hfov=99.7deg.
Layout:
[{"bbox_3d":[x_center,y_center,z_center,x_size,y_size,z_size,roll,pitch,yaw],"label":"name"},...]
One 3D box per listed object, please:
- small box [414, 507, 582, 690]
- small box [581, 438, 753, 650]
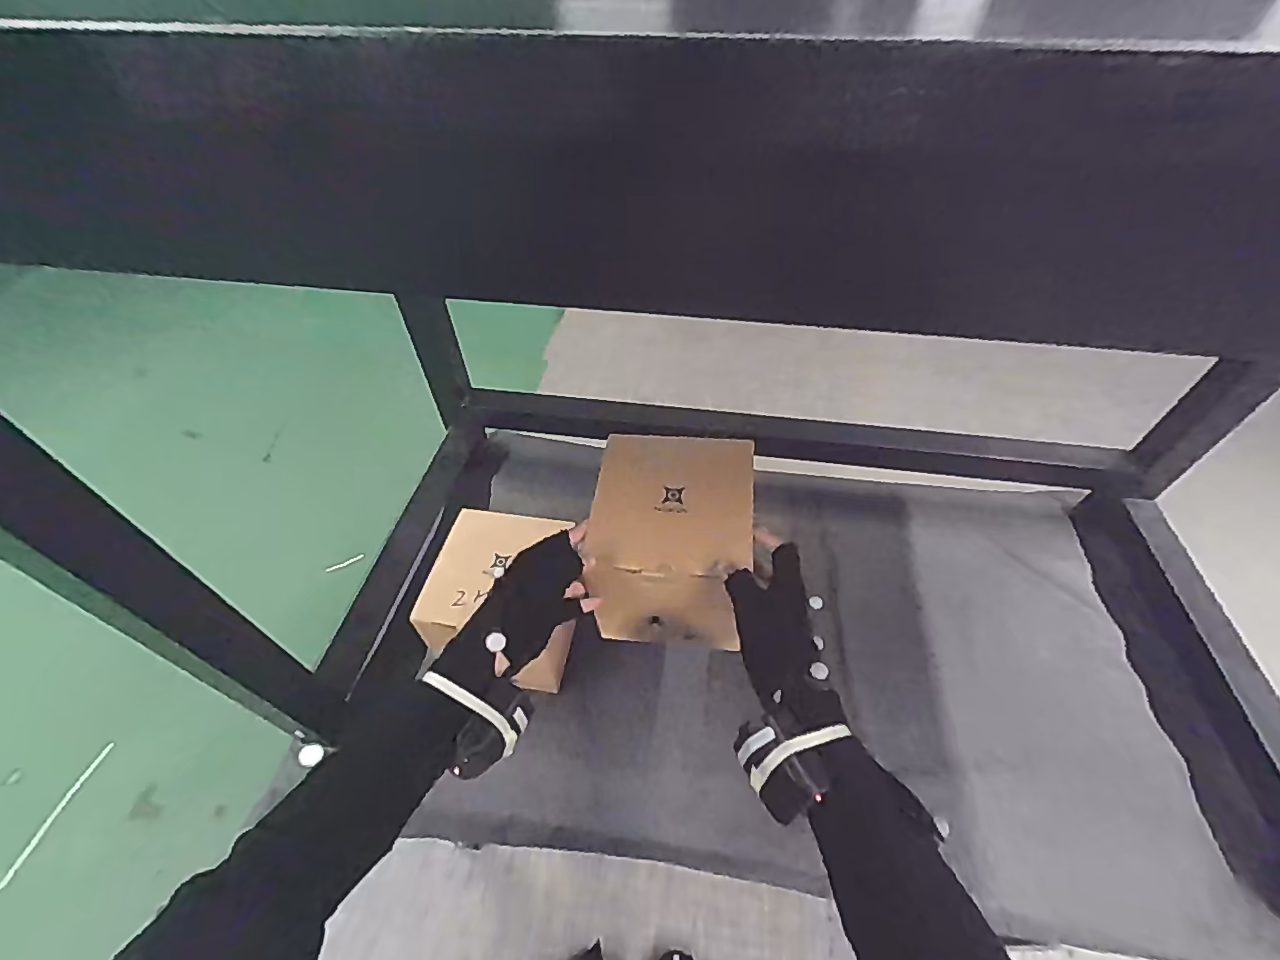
[{"bbox_3d":[-0.180,0.165,0.754,0.168,0.176,0.179,7,49,7],"label":"small box"},{"bbox_3d":[0.038,0.074,0.625,0.168,0.176,0.179,3,52,8],"label":"small box"}]
